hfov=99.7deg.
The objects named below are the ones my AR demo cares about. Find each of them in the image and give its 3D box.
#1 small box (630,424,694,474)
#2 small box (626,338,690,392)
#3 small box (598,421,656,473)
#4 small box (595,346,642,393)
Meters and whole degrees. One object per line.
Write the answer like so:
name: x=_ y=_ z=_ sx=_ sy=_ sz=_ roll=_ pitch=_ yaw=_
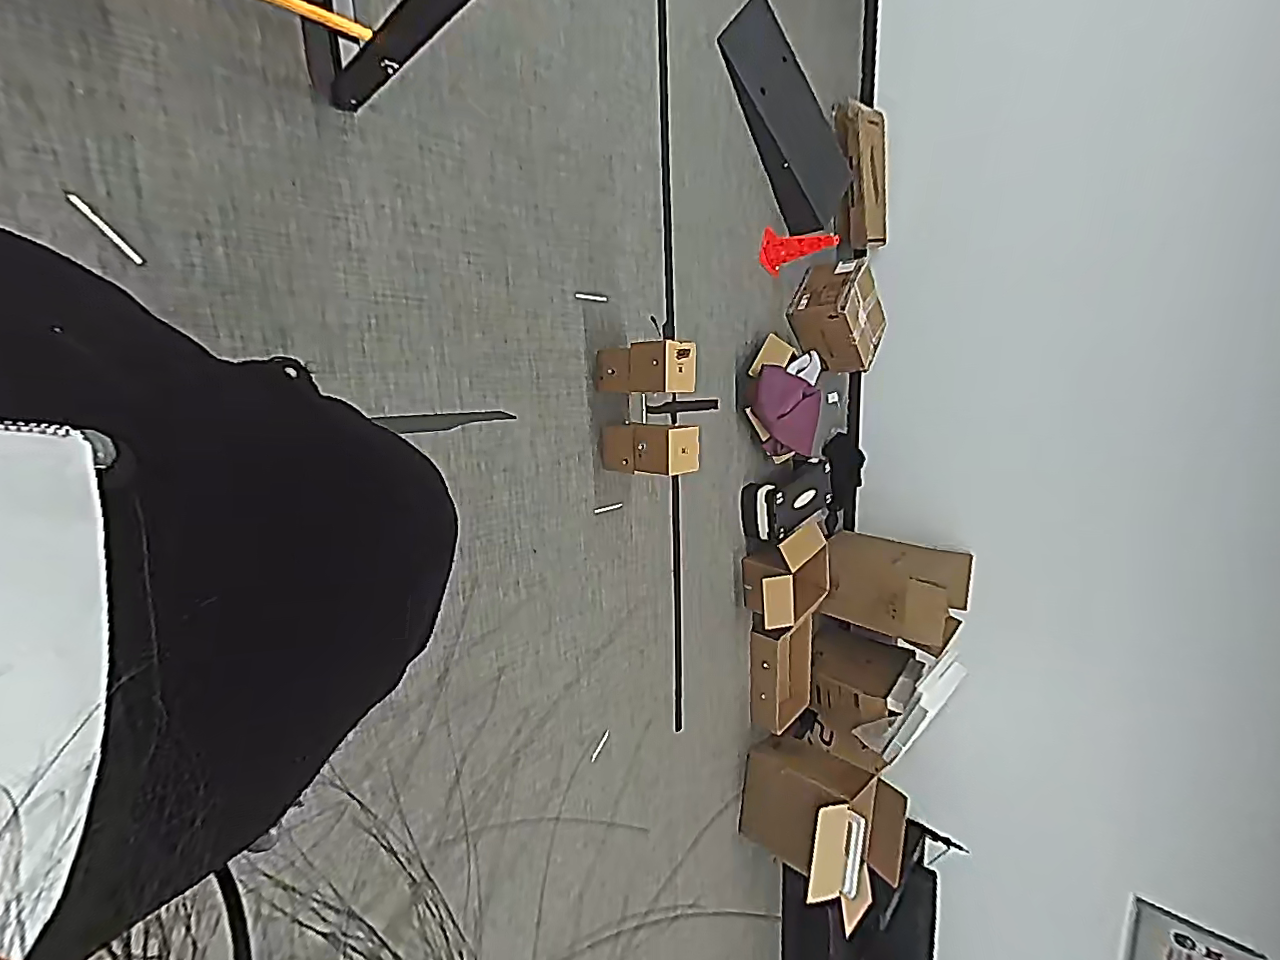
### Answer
small box: x=0.080 y=-0.119 z=1.996 sx=0.179 sy=0.176 sz=0.168 roll=-12 pitch=104 yaw=-45
small box: x=0.062 y=-0.403 z=1.923 sx=0.168 sy=0.176 sz=0.179 roll=-9 pitch=103 yaw=-47
small box: x=-0.048 y=-0.132 z=2.097 sx=0.168 sy=0.176 sz=0.179 roll=-15 pitch=107 yaw=-46
small box: x=-0.058 y=-0.413 z=2.038 sx=0.179 sy=0.176 sz=0.168 roll=-10 pitch=103 yaw=-46
